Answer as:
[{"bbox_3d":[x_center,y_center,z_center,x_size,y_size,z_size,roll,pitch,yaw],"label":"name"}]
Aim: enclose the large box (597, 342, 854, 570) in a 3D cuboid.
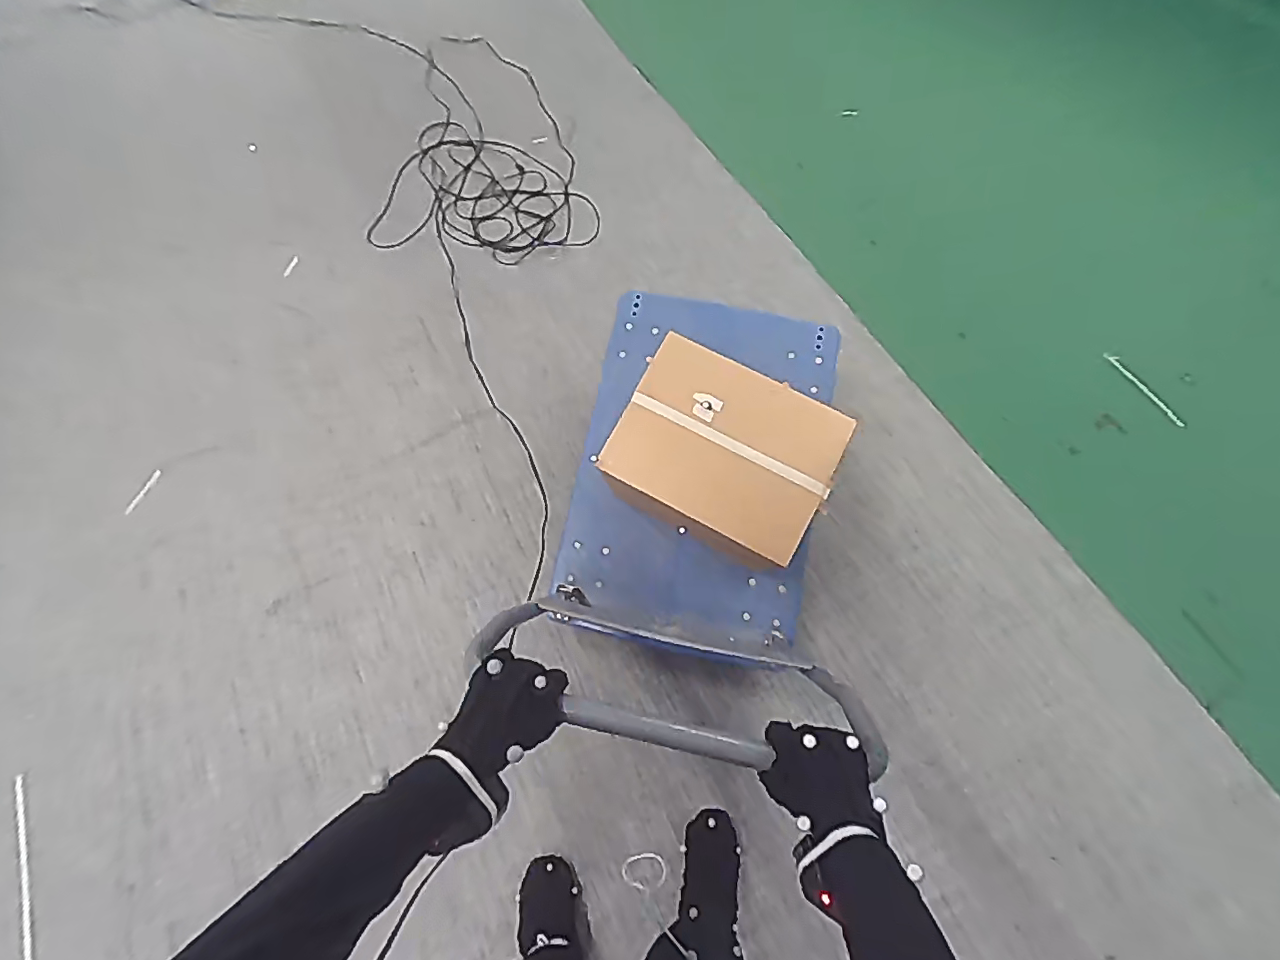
[{"bbox_3d":[0.172,-0.029,1.164,0.408,0.320,0.320,27,81,9],"label":"large box"}]
